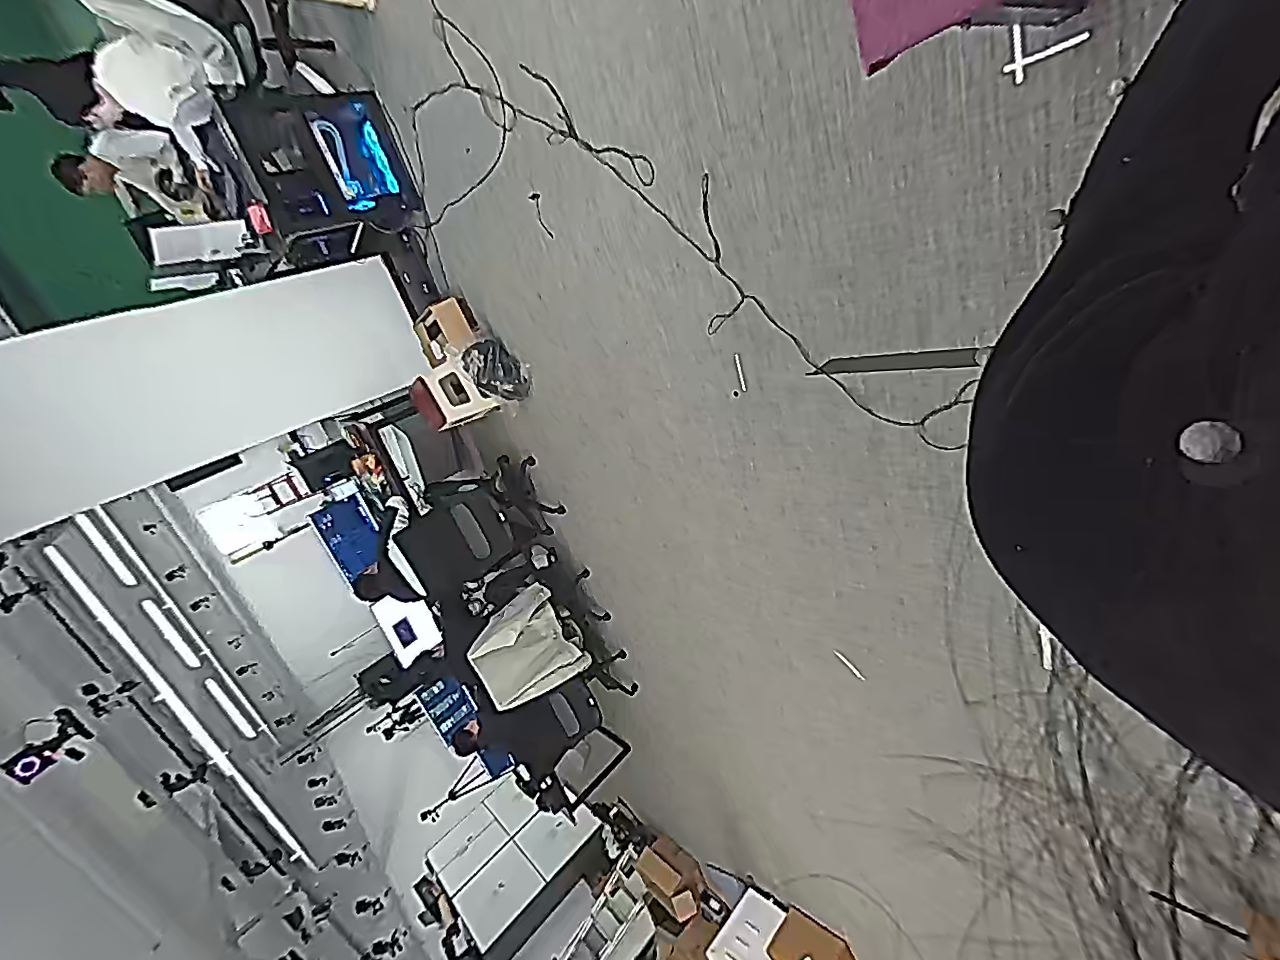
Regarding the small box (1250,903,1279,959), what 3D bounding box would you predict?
[{"bbox_3d":[1.776,1.306,1.459,0.168,0.176,0.179,6,122,50],"label":"small box"}]
